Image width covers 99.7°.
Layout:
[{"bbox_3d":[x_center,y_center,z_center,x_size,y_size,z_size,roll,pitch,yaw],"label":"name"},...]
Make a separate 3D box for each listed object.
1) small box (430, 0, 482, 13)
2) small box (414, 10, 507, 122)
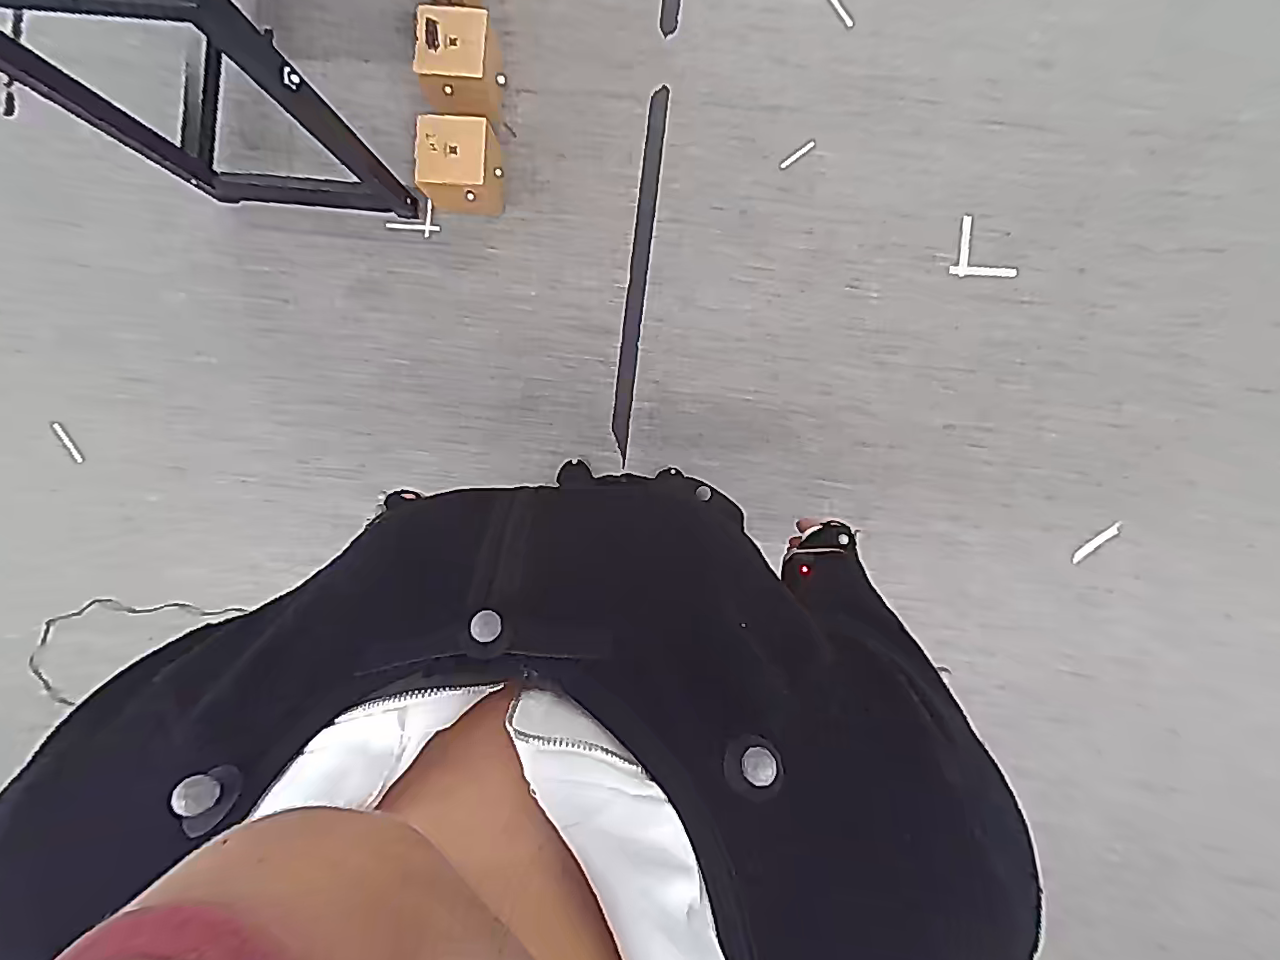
[{"bbox_3d":[-0.496,-1.371,1.403,0.168,0.176,0.179,27,94,2],"label":"small box"},{"bbox_3d":[-0.462,-1.071,1.410,0.179,0.176,0.168,5,92,1],"label":"small box"}]
